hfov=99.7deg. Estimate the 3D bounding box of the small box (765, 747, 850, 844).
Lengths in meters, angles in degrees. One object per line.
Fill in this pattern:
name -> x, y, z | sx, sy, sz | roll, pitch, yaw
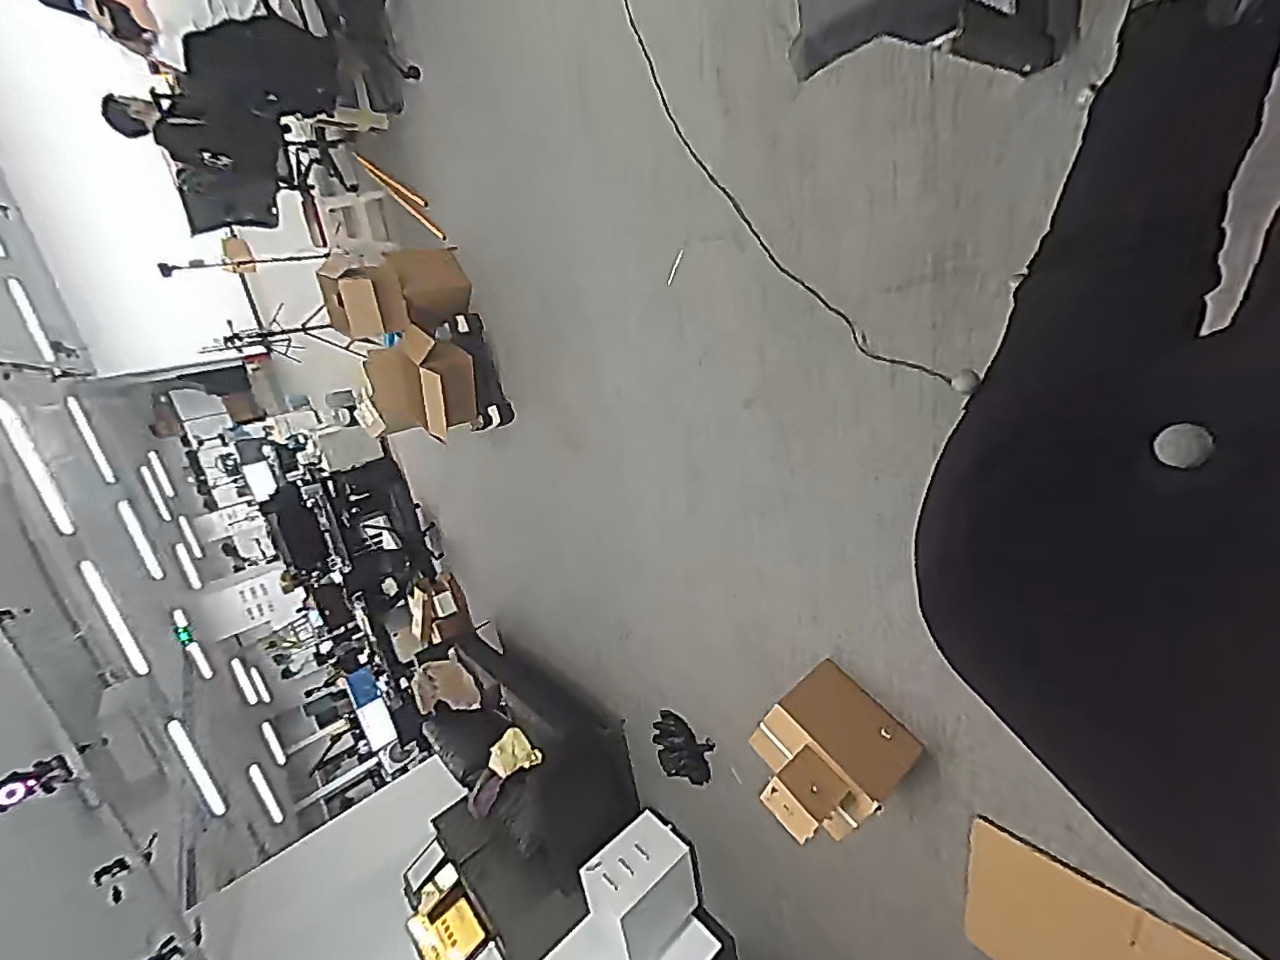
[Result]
small box -> 0.531, 0.993, 1.715 | 0.179, 0.176, 0.168 | 39, 137, 36
